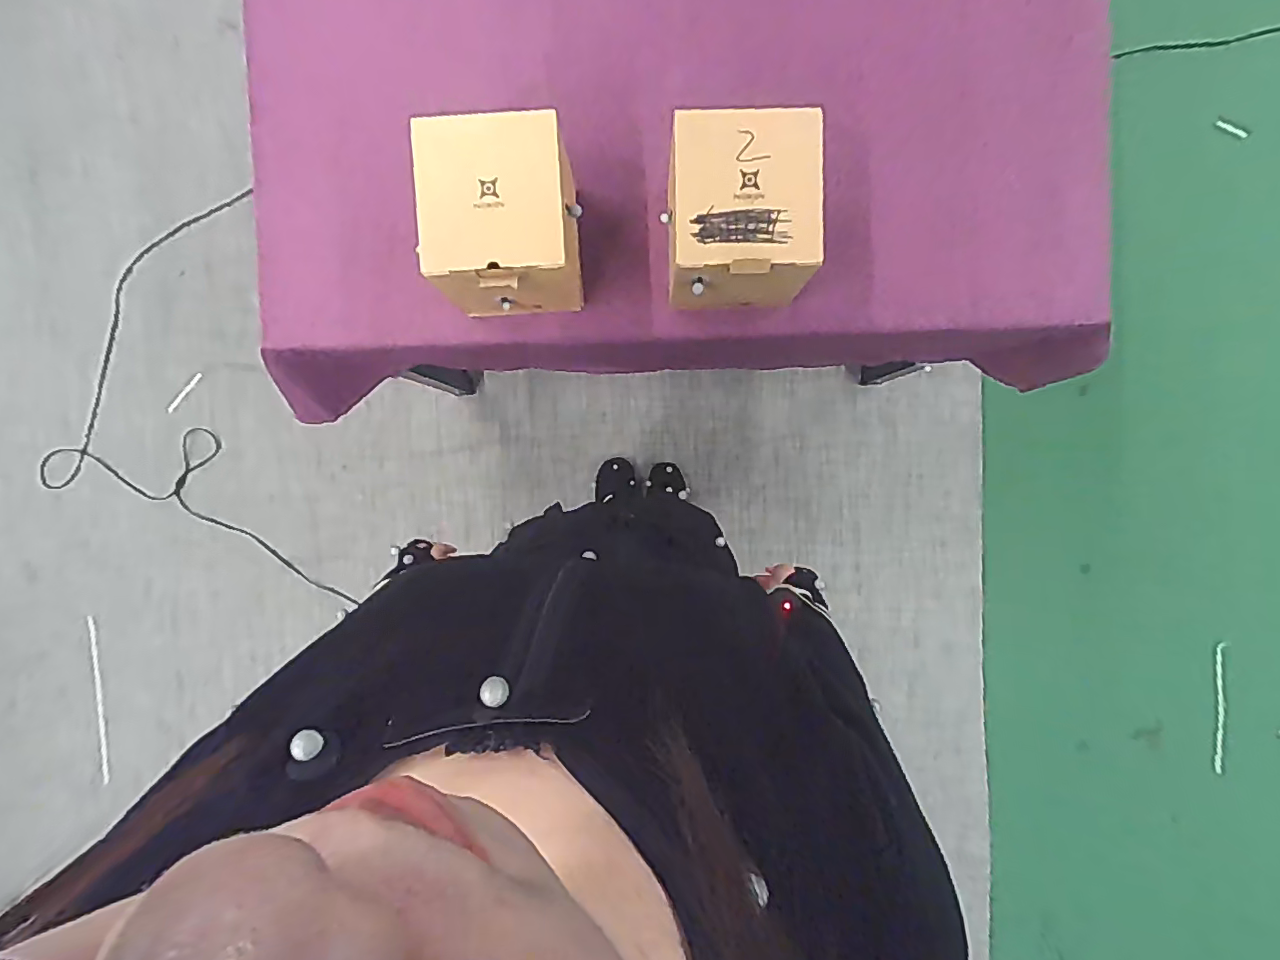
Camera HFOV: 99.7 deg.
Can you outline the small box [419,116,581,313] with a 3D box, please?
[{"bbox_3d":[-0.169,-0.330,0.701,0.168,0.176,0.179,-3,93,1],"label":"small box"}]
